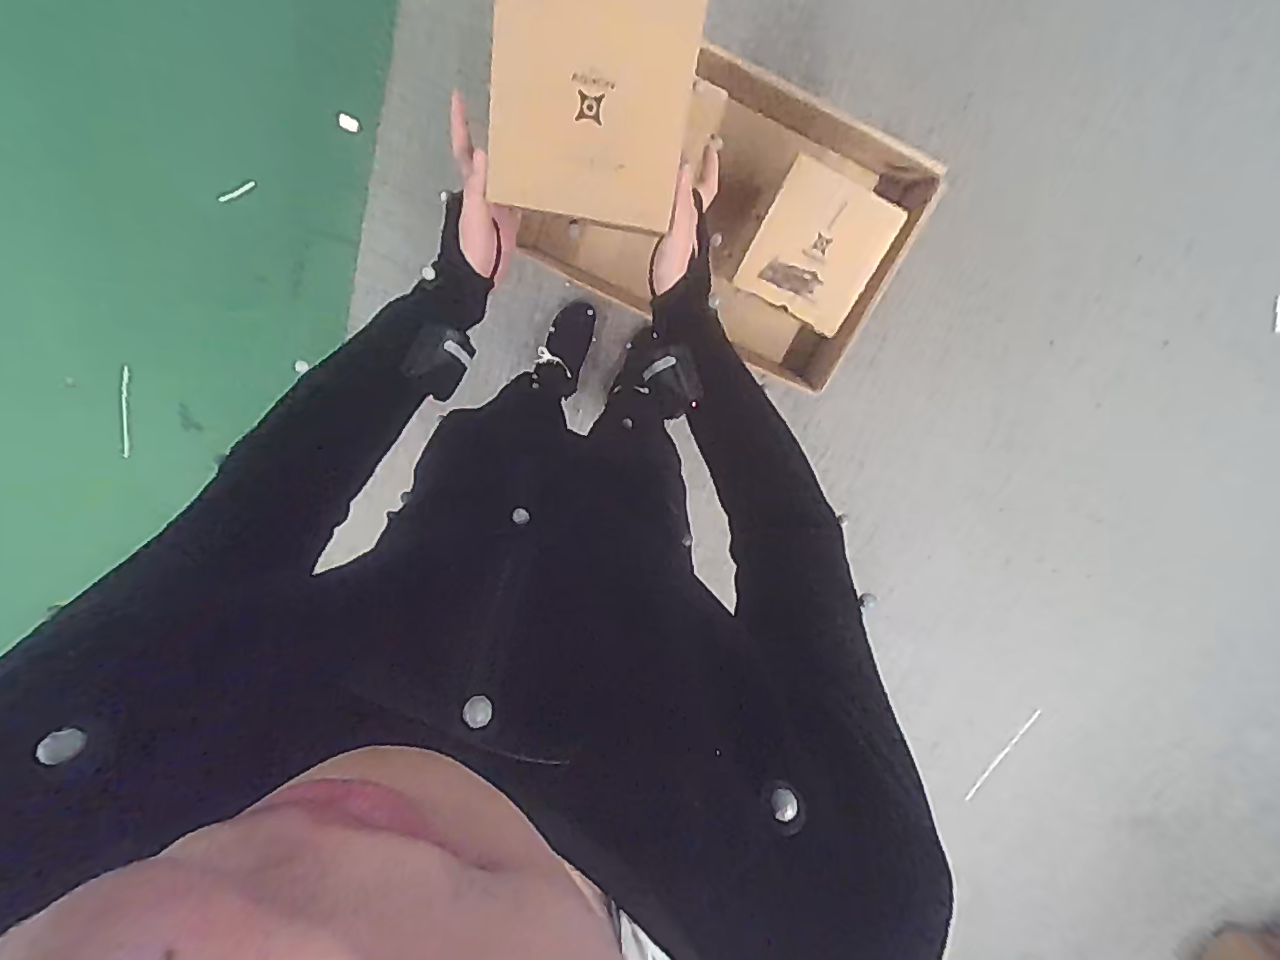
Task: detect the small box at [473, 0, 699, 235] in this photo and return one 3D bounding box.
[{"bbox_3d":[-0.049,-0.338,0.506,0.168,0.176,0.179,8,113,-3],"label":"small box"}]

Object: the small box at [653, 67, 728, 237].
[{"bbox_3d":[0.003,-0.458,0.746,0.168,0.176,0.179,24,111,-4],"label":"small box"}]

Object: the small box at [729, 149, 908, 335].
[{"bbox_3d":[0.239,-0.333,0.779,0.168,0.176,0.179,26,111,-6],"label":"small box"}]
